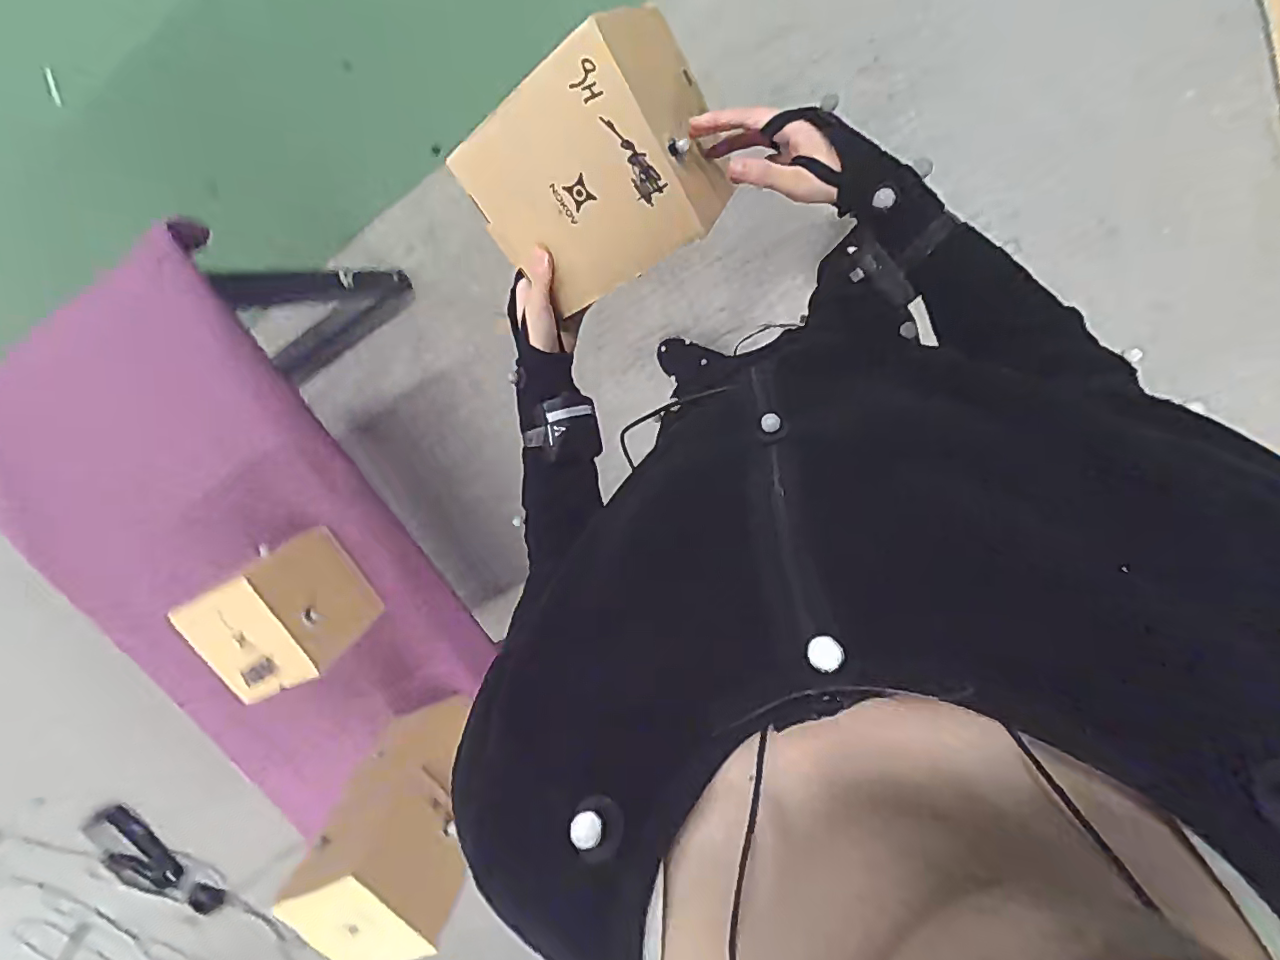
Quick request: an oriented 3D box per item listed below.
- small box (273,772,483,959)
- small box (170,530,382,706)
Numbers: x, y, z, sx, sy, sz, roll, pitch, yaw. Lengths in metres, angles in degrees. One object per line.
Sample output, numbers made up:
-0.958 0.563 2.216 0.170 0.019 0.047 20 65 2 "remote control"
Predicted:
-0.363 0.566 0.782 0.179 0.176 0.168 -31 105 18 "small box"
-0.547 0.208 0.841 0.168 0.176 0.179 -24 106 16 "small box"
